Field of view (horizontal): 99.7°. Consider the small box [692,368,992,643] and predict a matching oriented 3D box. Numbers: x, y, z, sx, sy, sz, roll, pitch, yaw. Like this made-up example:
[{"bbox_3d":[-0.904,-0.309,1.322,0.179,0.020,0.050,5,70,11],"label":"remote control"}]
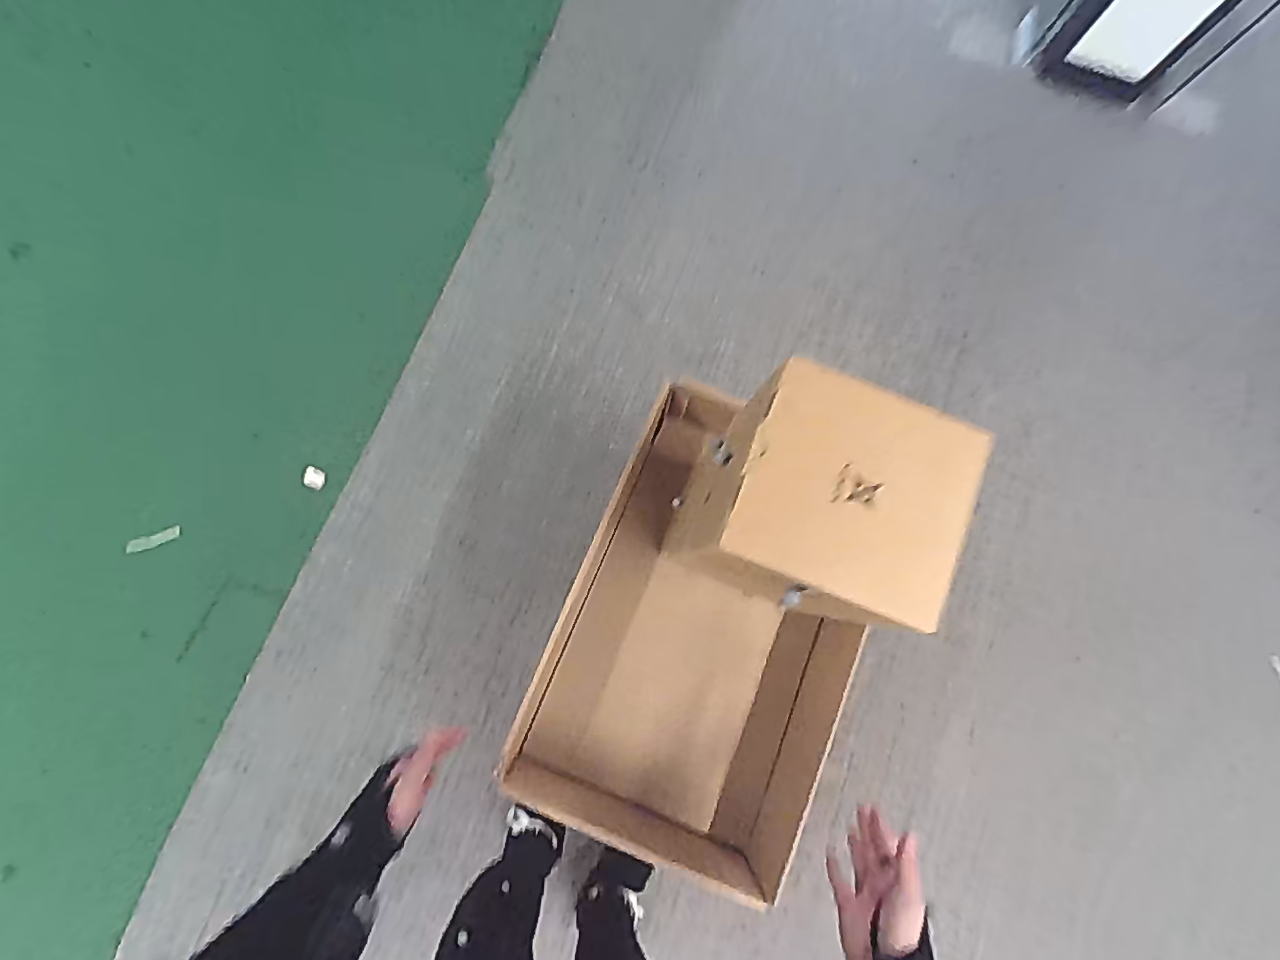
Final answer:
[{"bbox_3d":[0.164,0.028,0.492,0.179,0.176,0.168,22,80,1],"label":"small box"}]
